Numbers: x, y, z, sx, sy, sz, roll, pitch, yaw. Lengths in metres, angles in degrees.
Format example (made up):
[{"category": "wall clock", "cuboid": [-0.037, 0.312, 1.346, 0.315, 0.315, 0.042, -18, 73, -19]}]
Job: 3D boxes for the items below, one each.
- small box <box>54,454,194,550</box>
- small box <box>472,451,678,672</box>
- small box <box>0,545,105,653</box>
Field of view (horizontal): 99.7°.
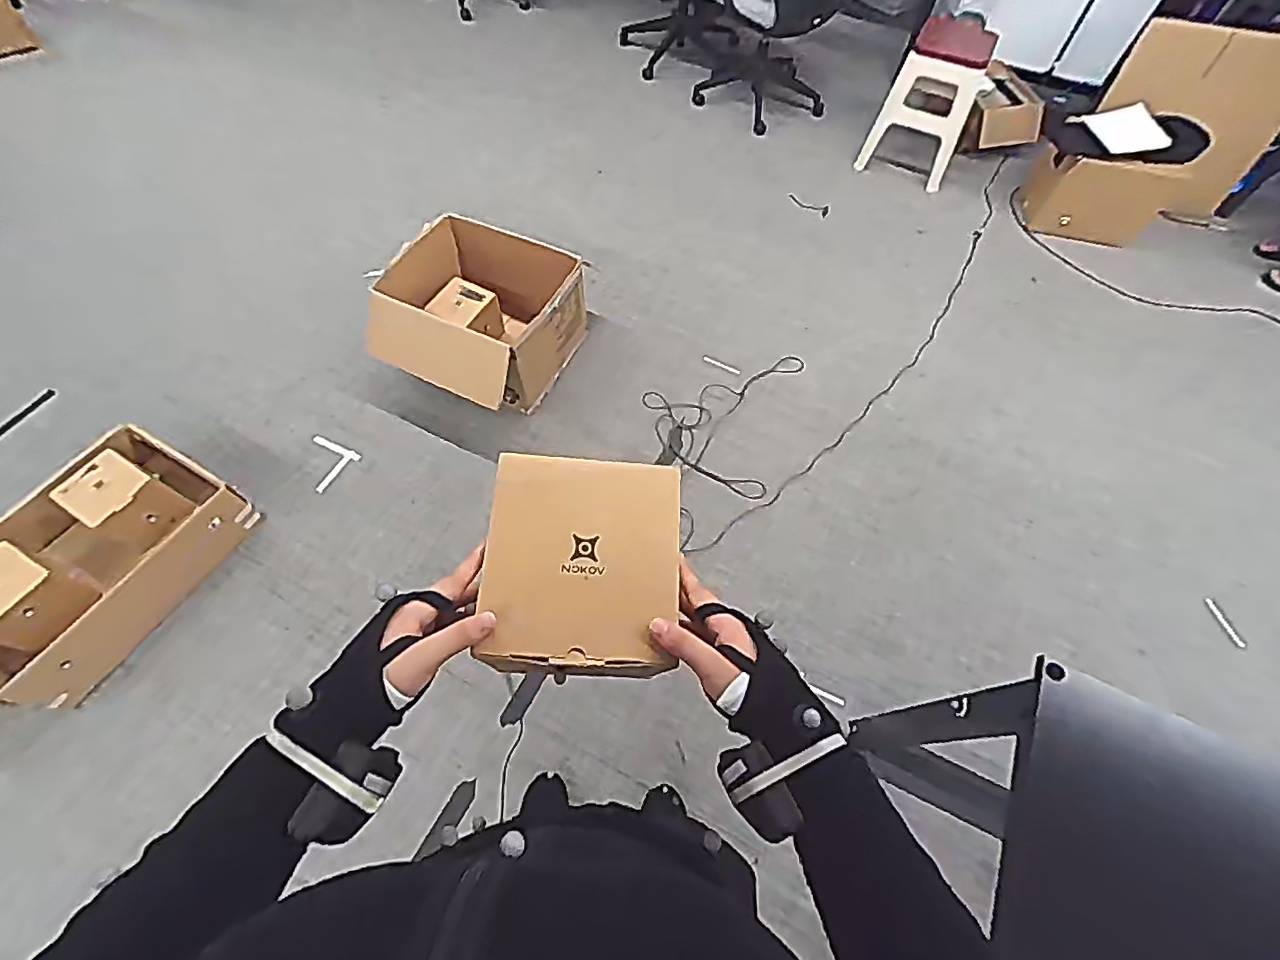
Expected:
[{"category": "small box", "cuboid": [-1.356, 0.068, 1.437, 0.179, 0.176, 0.168, 29, 65, 11]}, {"category": "small box", "cuboid": [-0.059, 0.090, 0.533, 0.168, 0.176, 0.179, 4, 68, -6]}, {"category": "small box", "cuboid": [-1.483, 0.294, 1.307, 0.168, 0.176, 0.179, 27, 62, 10]}]
